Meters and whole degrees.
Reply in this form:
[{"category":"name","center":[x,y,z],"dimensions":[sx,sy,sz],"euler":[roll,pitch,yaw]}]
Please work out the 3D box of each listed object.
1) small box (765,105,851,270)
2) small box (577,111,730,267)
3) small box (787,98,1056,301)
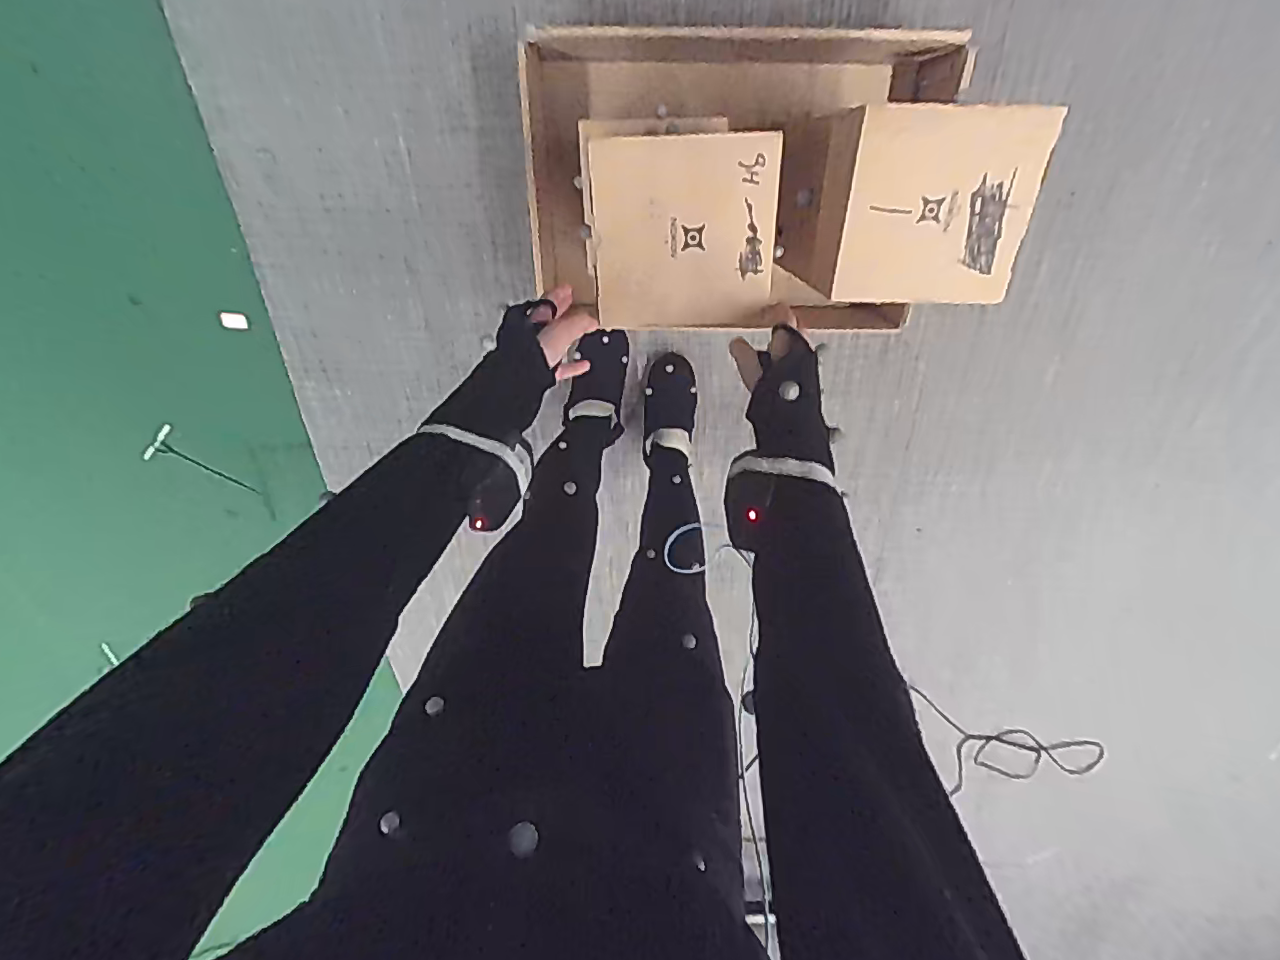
[{"category":"small box","center":[0.268,-0.381,0.714],"dimensions":[0.168,0.176,0.179],"euler":[1,120,0]},{"category":"small box","center":[0.015,-0.381,0.717],"dimensions":[0.179,0.176,0.168],"euler":[-2,120,-1]},{"category":"small box","center":[0.272,-0.296,0.575],"dimensions":[0.179,0.176,0.168],"euler":[2,120,0]}]
